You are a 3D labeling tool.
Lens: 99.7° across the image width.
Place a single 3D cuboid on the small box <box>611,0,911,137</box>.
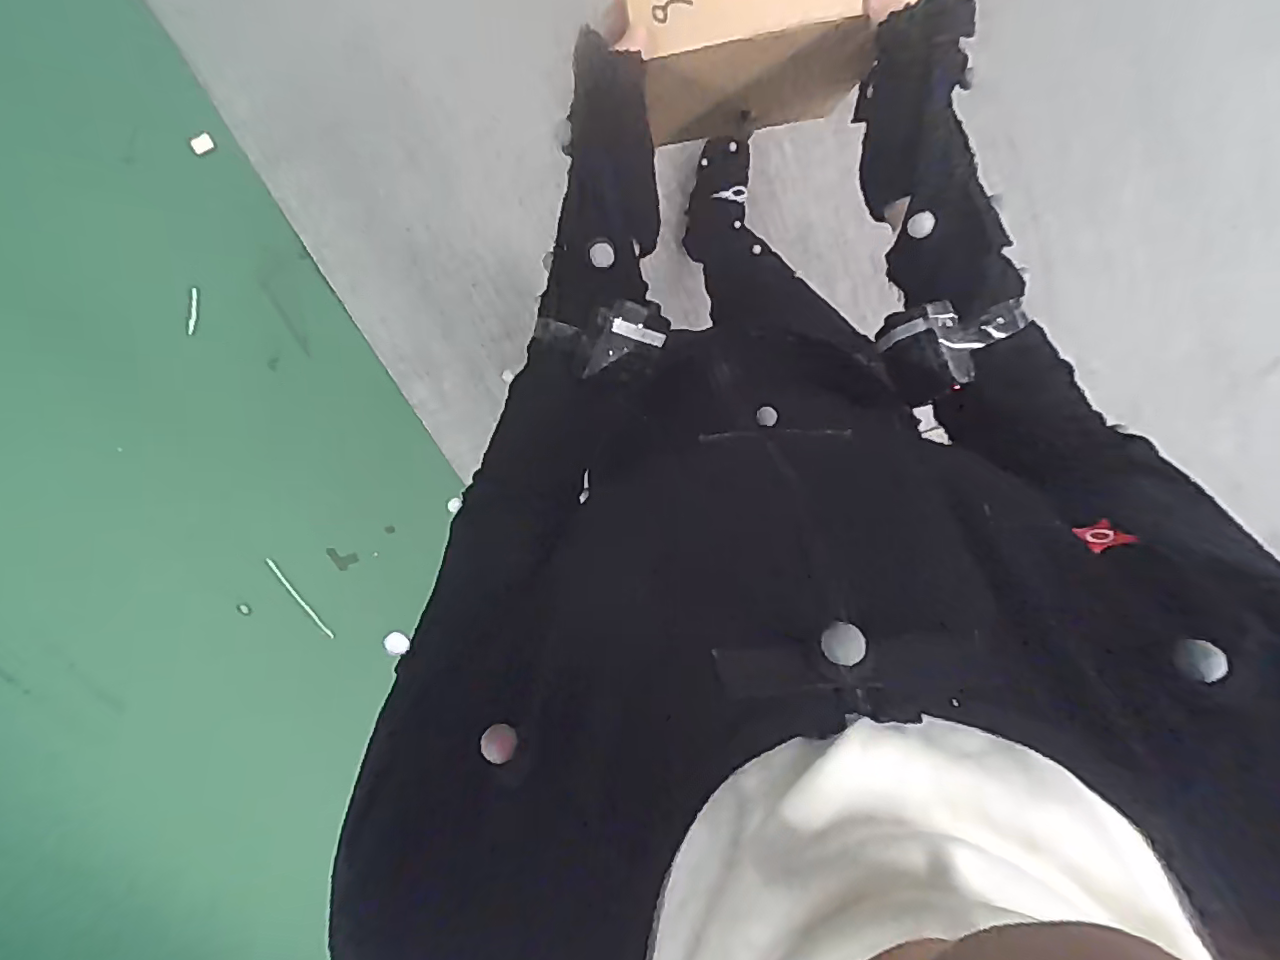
[{"bbox_3d":[0.067,-0.373,0.382,0.179,0.176,0.168,-9,104,2],"label":"small box"}]
